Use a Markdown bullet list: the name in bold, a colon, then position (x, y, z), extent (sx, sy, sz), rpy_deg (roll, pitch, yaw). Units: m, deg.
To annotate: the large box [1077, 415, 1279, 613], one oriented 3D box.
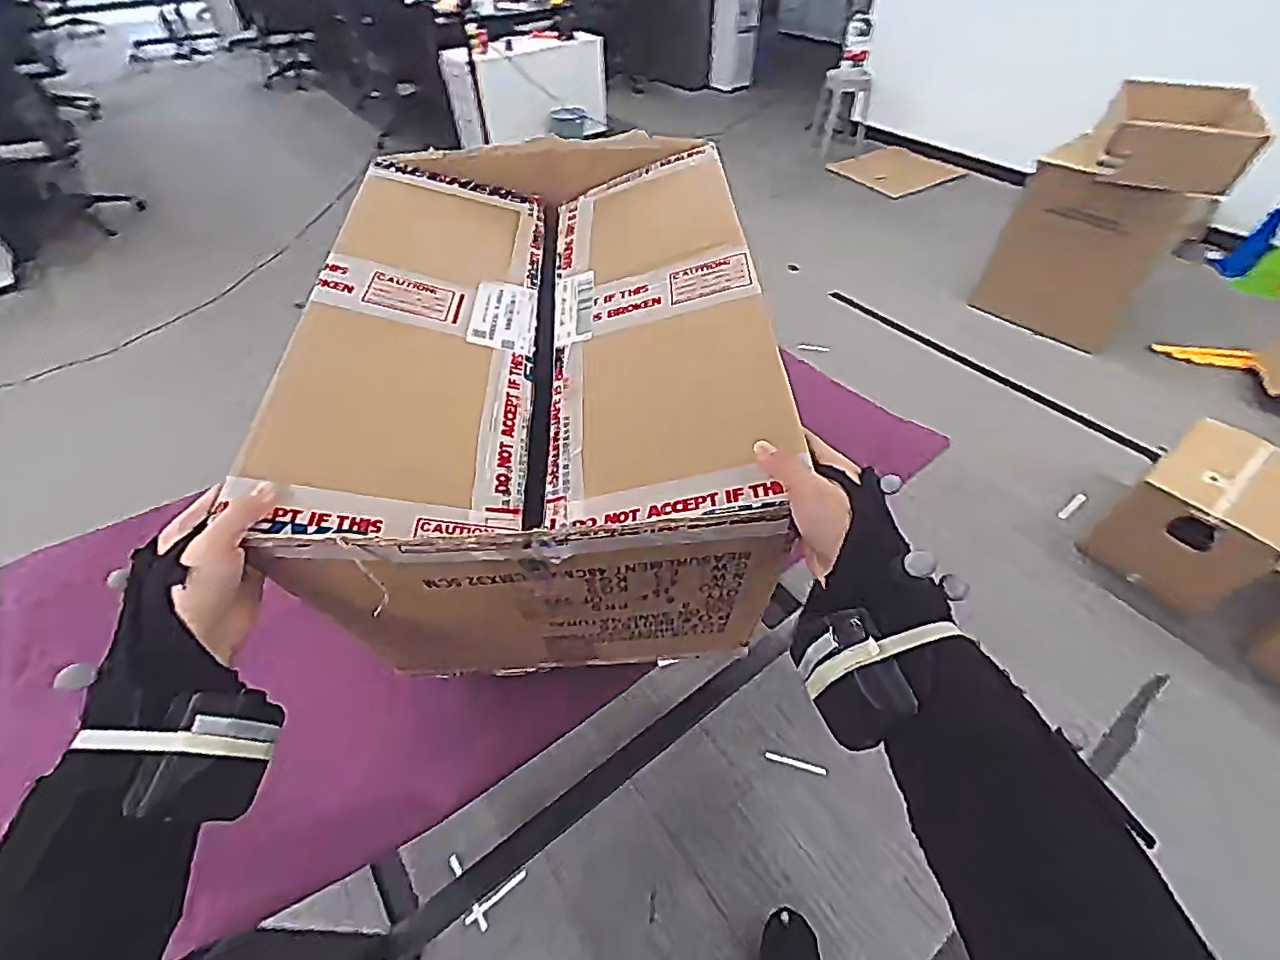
- **large box**: position (1.556, 0.091, 1.518), extent (0.408, 0.320, 0.320), rpy_deg (-32, 54, -23)
